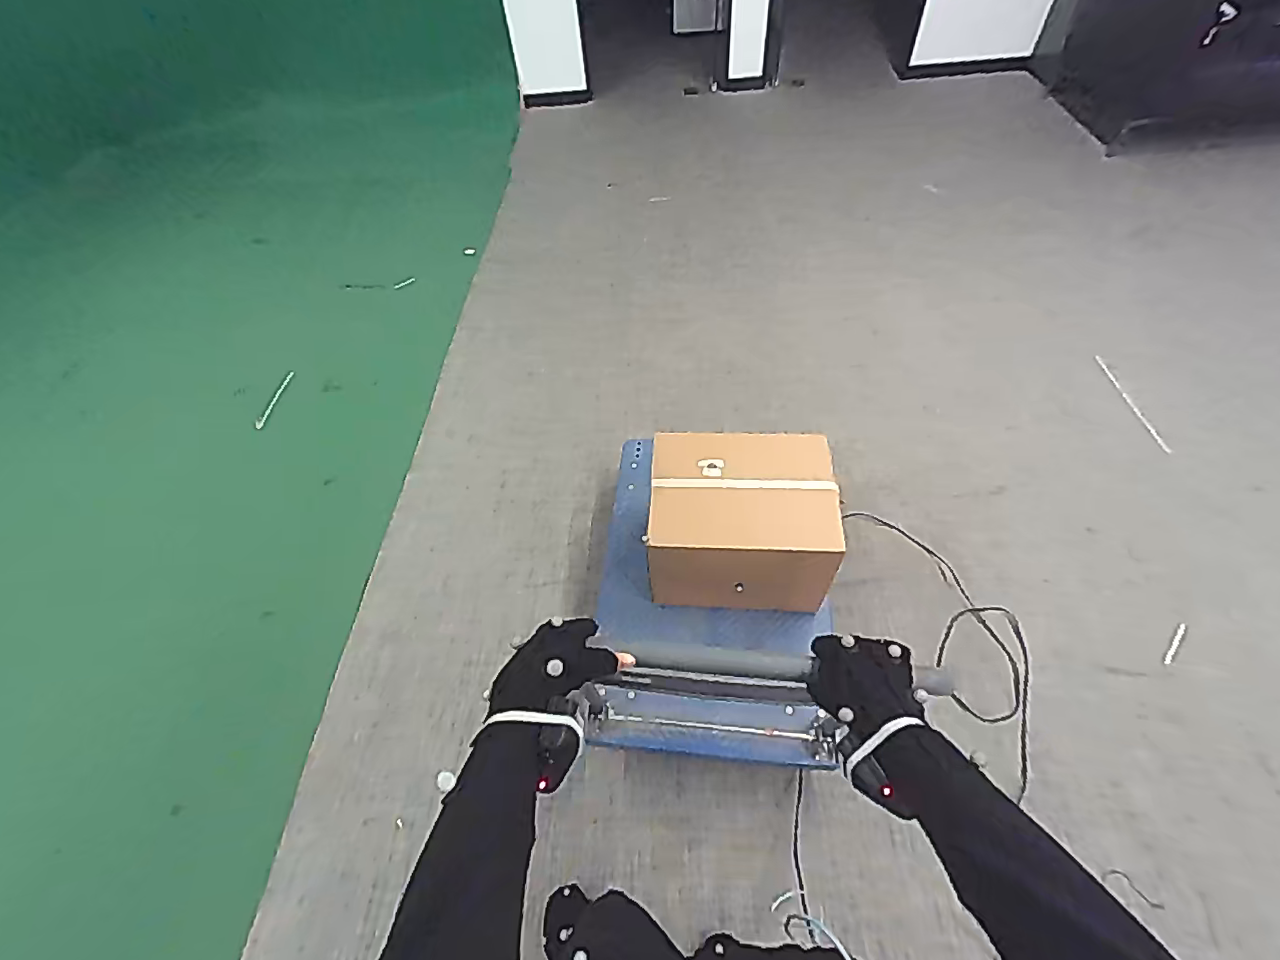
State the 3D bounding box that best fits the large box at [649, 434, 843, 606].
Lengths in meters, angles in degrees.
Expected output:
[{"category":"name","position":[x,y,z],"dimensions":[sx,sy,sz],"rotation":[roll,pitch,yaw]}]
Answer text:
[{"category":"large box","position":[0.239,0.107,1.322],"dimensions":[0.408,0.320,0.320],"rotation":[-1,54,6]}]
